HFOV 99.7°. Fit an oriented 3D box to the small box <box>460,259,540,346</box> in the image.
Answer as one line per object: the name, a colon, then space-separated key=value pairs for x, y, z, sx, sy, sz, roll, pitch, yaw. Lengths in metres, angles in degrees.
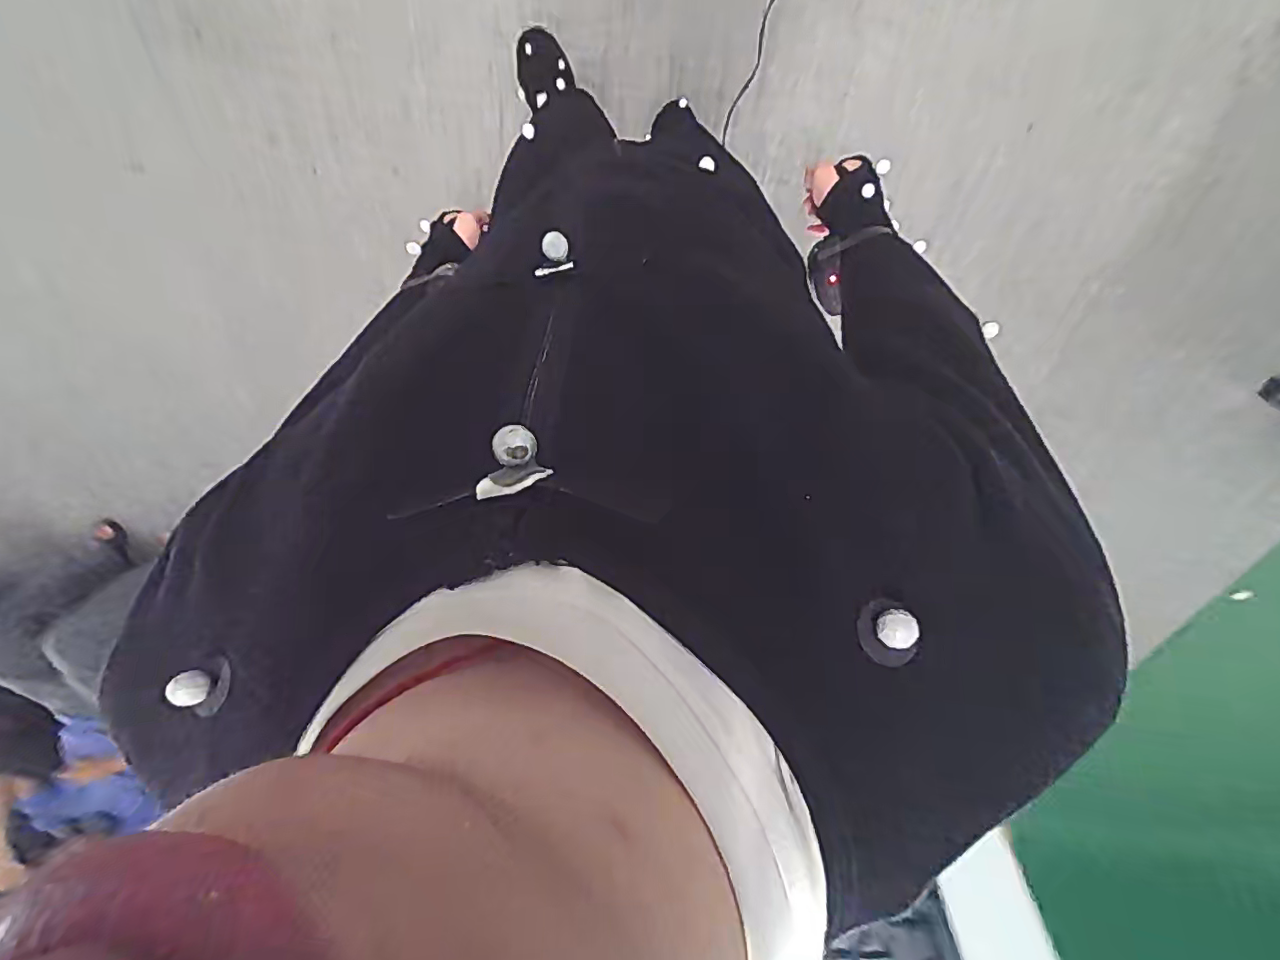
small box: x=-0.358 y=-0.465 z=1.414 sx=0.168 sy=0.176 sz=0.179 roll=5 pitch=129 yaw=-2
